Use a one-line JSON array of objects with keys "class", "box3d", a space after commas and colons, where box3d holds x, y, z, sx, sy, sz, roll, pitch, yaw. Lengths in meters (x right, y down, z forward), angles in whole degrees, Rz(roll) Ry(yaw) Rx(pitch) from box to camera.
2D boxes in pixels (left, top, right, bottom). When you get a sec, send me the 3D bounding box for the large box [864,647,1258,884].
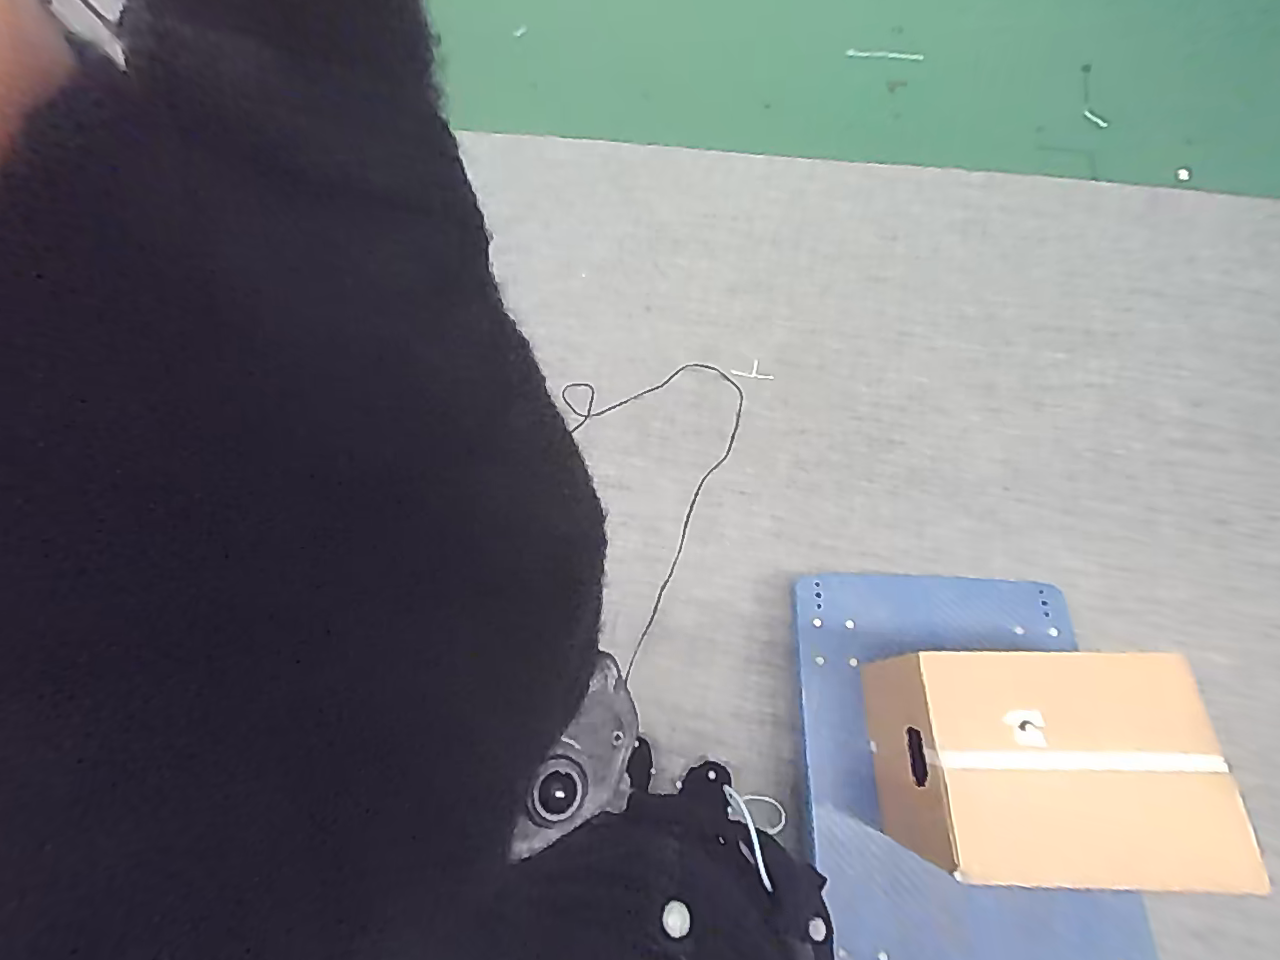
[{"class": "large box", "box3d": [0.660, 0.474, 0.944, 0.408, 0.320, 0.320, -2, 66, 5]}]
